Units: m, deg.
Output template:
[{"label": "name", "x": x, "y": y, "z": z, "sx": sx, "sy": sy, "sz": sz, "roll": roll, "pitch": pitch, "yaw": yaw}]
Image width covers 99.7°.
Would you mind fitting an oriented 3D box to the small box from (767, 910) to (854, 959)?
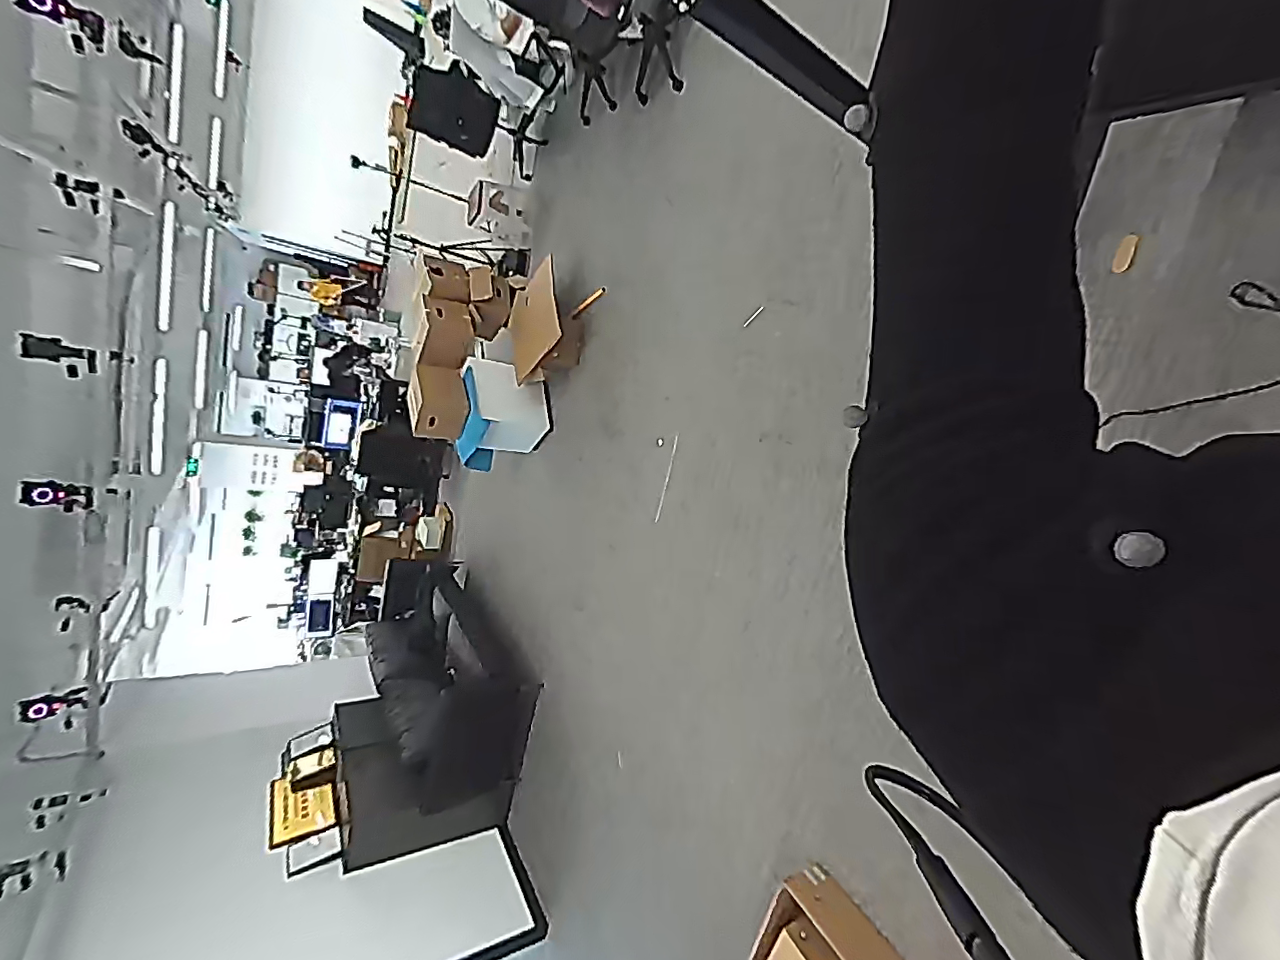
[{"label": "small box", "x": 0.555, "y": 1.553, "z": 1.763, "sx": 0.179, "sy": 0.176, "sz": 0.168, "roll": 38, "pitch": 117, "yaw": 50}]
